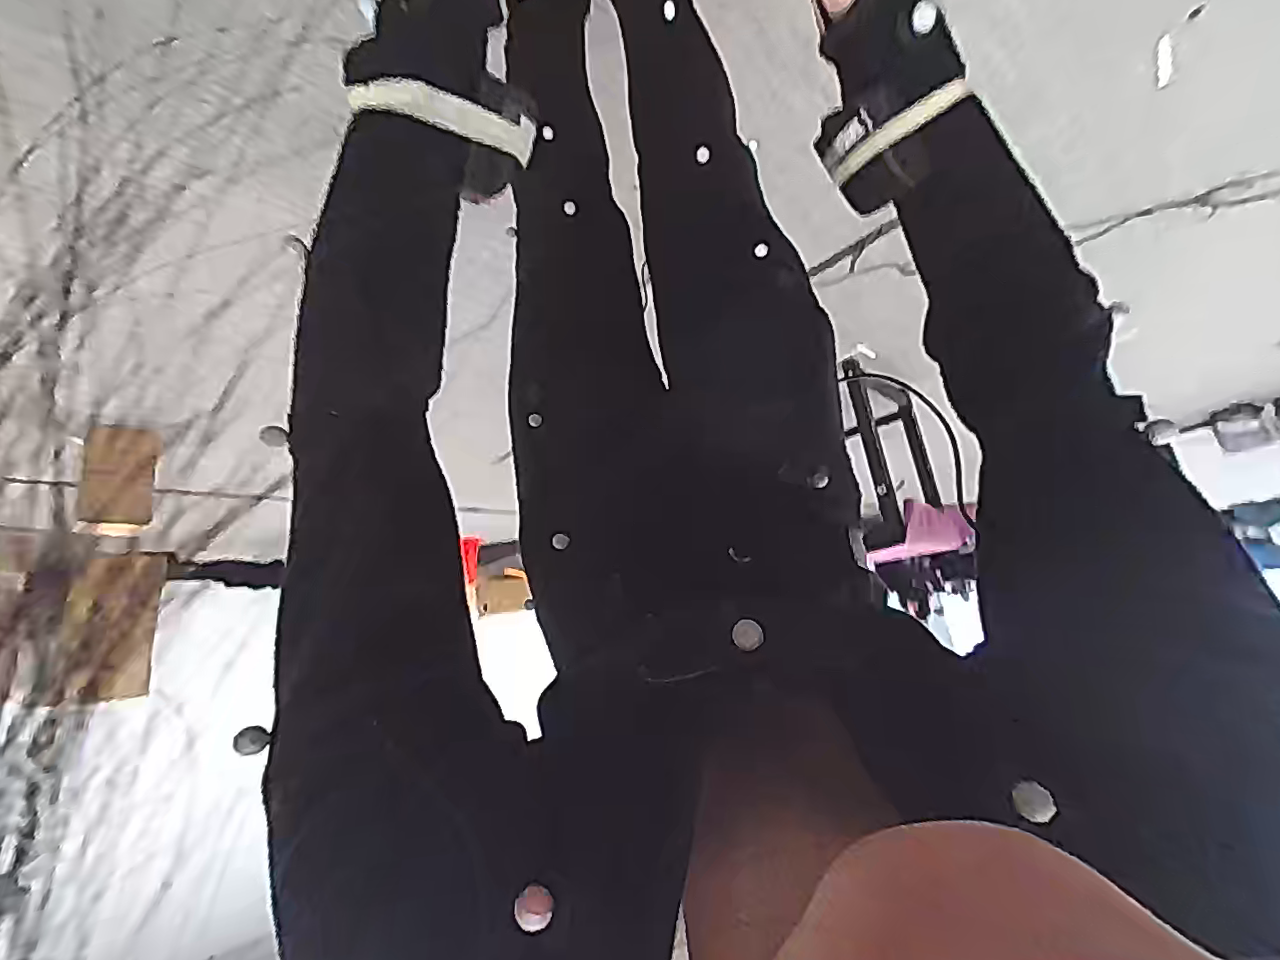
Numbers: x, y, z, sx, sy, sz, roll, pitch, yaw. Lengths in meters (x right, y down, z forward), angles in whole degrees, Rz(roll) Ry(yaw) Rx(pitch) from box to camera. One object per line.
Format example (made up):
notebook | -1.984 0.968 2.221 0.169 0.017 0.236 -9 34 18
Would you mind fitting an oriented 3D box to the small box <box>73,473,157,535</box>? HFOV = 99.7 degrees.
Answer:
small box | -1.761 0.080 1.815 0.168 0.176 0.179 -20 161 38
